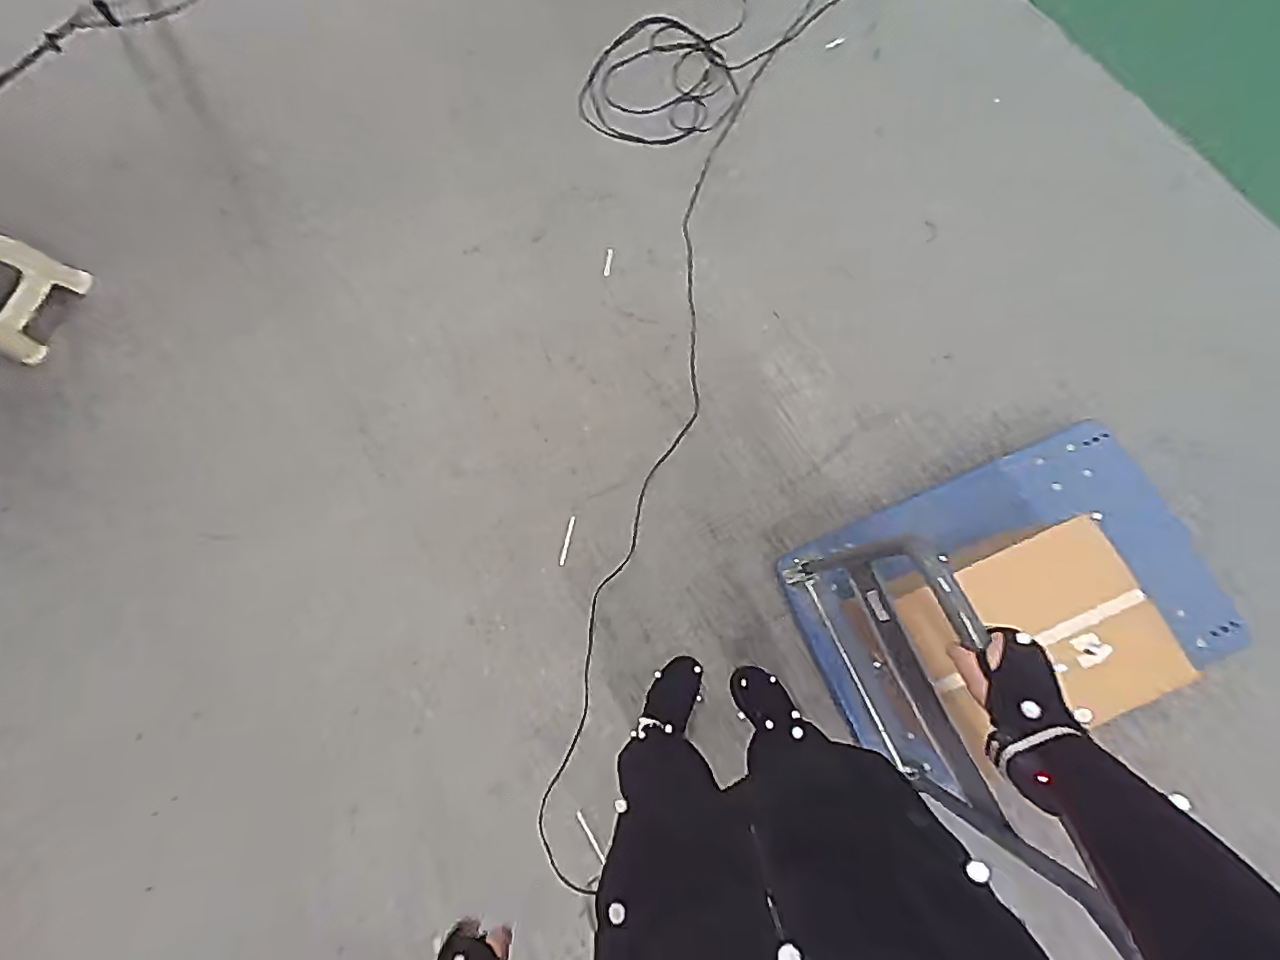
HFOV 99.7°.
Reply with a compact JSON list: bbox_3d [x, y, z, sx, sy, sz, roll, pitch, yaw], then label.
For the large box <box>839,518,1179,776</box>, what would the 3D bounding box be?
[{"bbox_3d":[0.692,0.322,1.097,0.408,0.320,0.320,-24,77,-1],"label":"large box"}]
